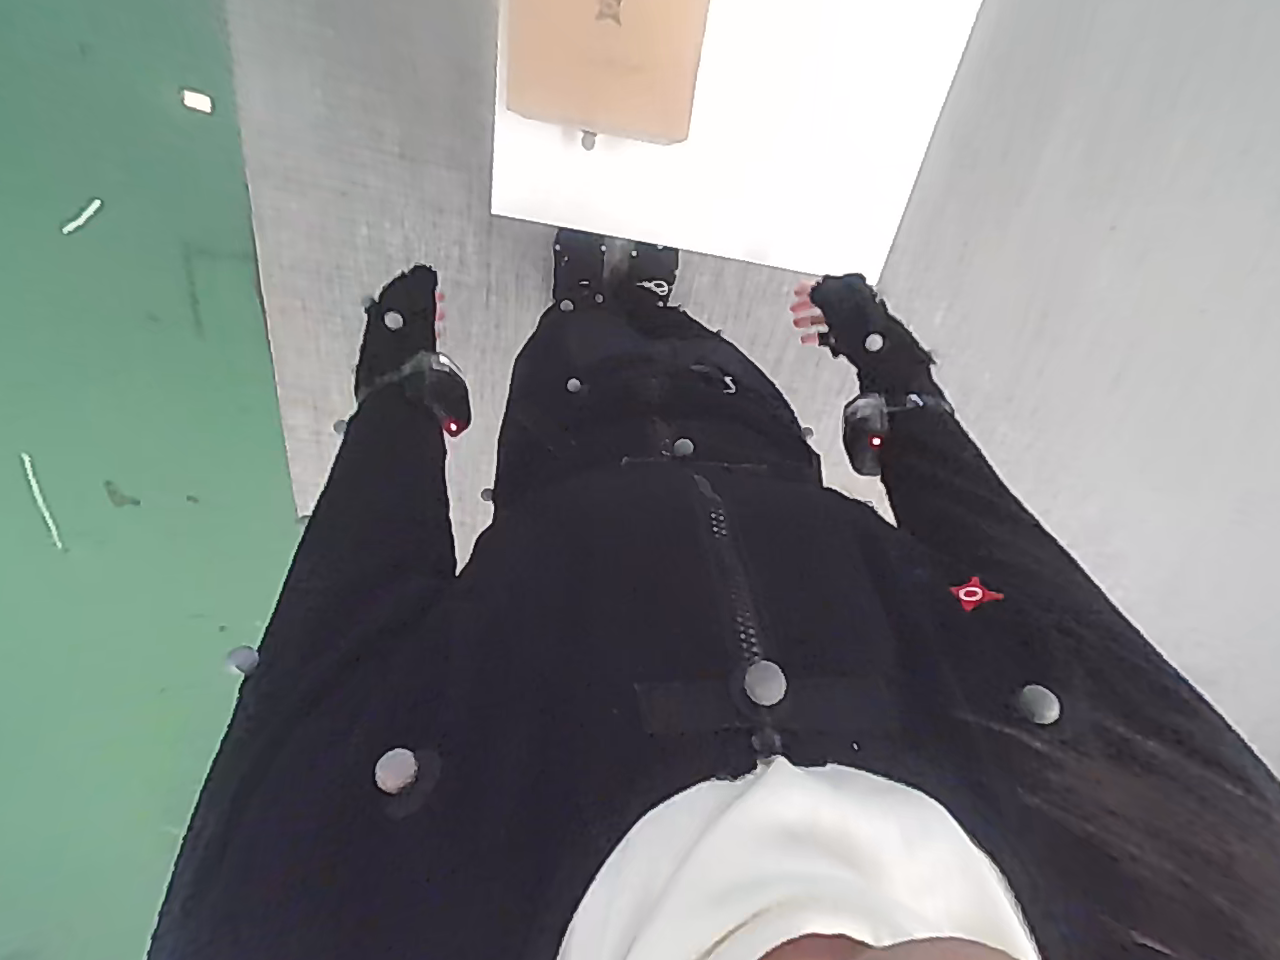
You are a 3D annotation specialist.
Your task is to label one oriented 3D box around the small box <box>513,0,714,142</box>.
[{"bbox_3d":[-0.024,-0.436,0.515,0.168,0.176,0.179,6,121,-5],"label":"small box"}]
